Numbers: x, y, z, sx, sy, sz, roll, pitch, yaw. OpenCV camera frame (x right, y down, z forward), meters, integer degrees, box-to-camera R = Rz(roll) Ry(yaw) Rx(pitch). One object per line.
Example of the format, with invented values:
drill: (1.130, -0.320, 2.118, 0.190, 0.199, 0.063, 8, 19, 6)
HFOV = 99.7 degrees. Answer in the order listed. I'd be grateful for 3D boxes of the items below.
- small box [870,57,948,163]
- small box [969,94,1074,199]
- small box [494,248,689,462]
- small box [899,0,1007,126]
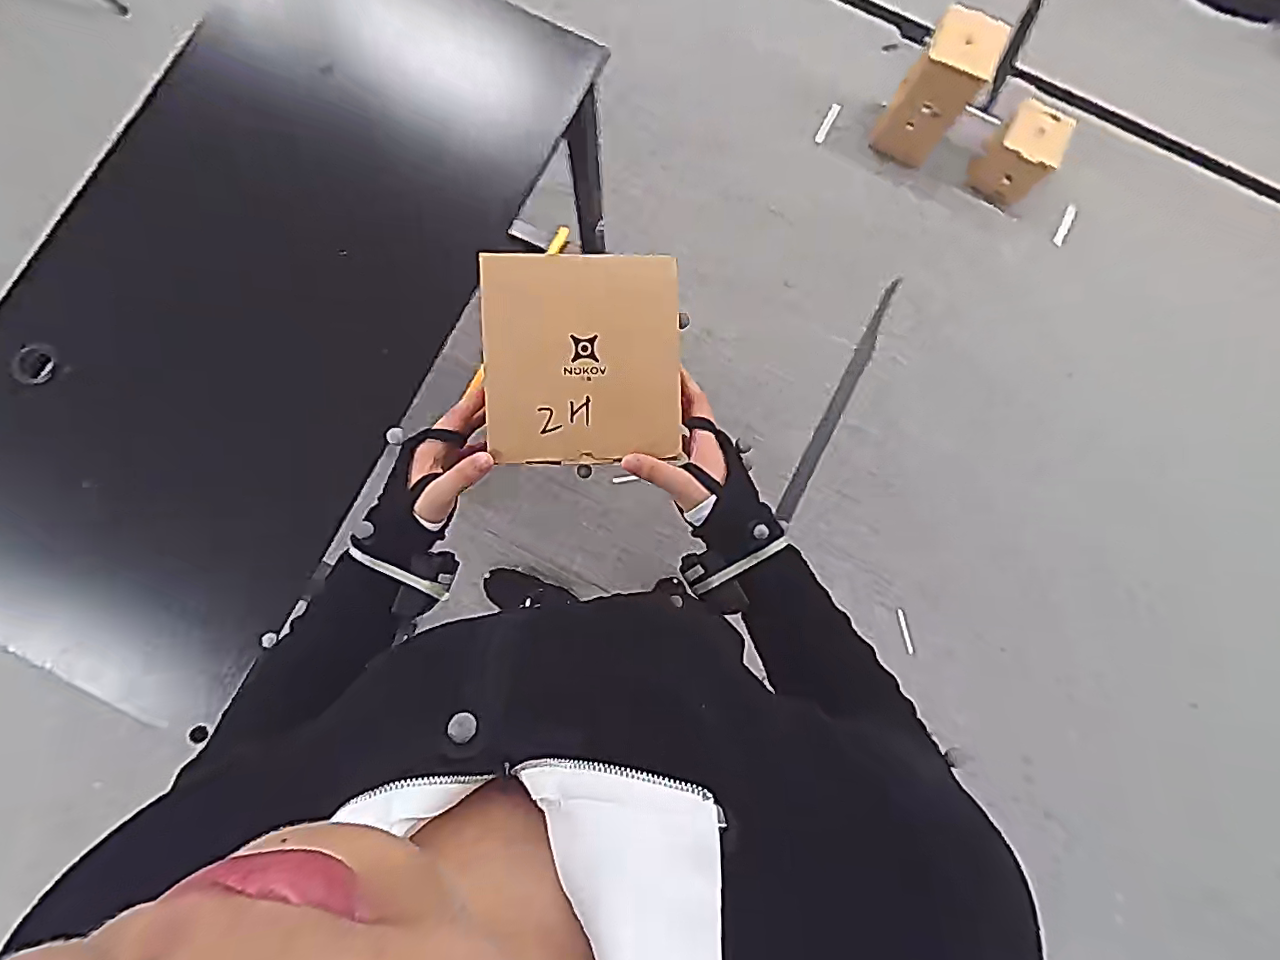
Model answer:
small box: (0.822, -1.093, 1.610, 0.179, 0.176, 0.168, 25, 83, 1)
small box: (1.123, -0.981, 1.607, 0.168, 0.176, 0.179, 27, 84, 2)
small box: (-0.048, -0.107, 0.533, 0.168, 0.176, 0.179, -1, 92, -5)
small box: (0.829, -1.109, 1.449, 0.168, 0.176, 0.179, 23, 84, 3)
